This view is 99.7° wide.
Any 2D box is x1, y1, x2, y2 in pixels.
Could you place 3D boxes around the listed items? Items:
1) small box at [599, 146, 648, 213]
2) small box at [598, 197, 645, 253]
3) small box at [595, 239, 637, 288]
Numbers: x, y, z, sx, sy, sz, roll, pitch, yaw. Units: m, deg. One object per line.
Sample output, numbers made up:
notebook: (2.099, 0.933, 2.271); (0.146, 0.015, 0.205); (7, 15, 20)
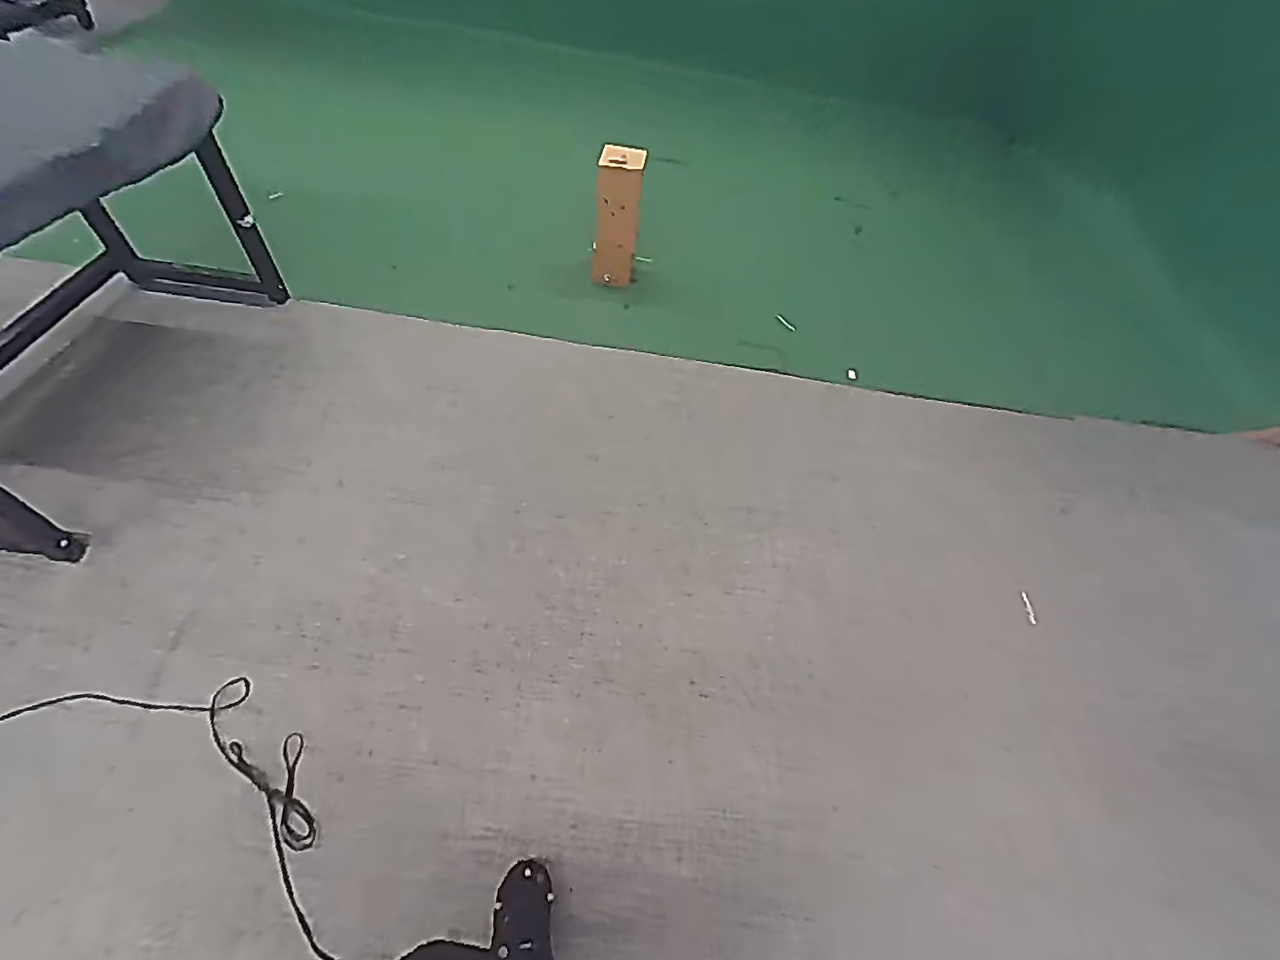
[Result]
small box: (-0.065, -1.168, 2.108); (0.168, 0.176, 0.179); (9, 52, -1)
small box: (-0.079, -1.071, 2.240); (0.168, 0.176, 0.179); (9, 52, 0)
small box: (-0.105, -0.971, 2.368); (0.168, 0.176, 0.179); (9, 54, 0)
